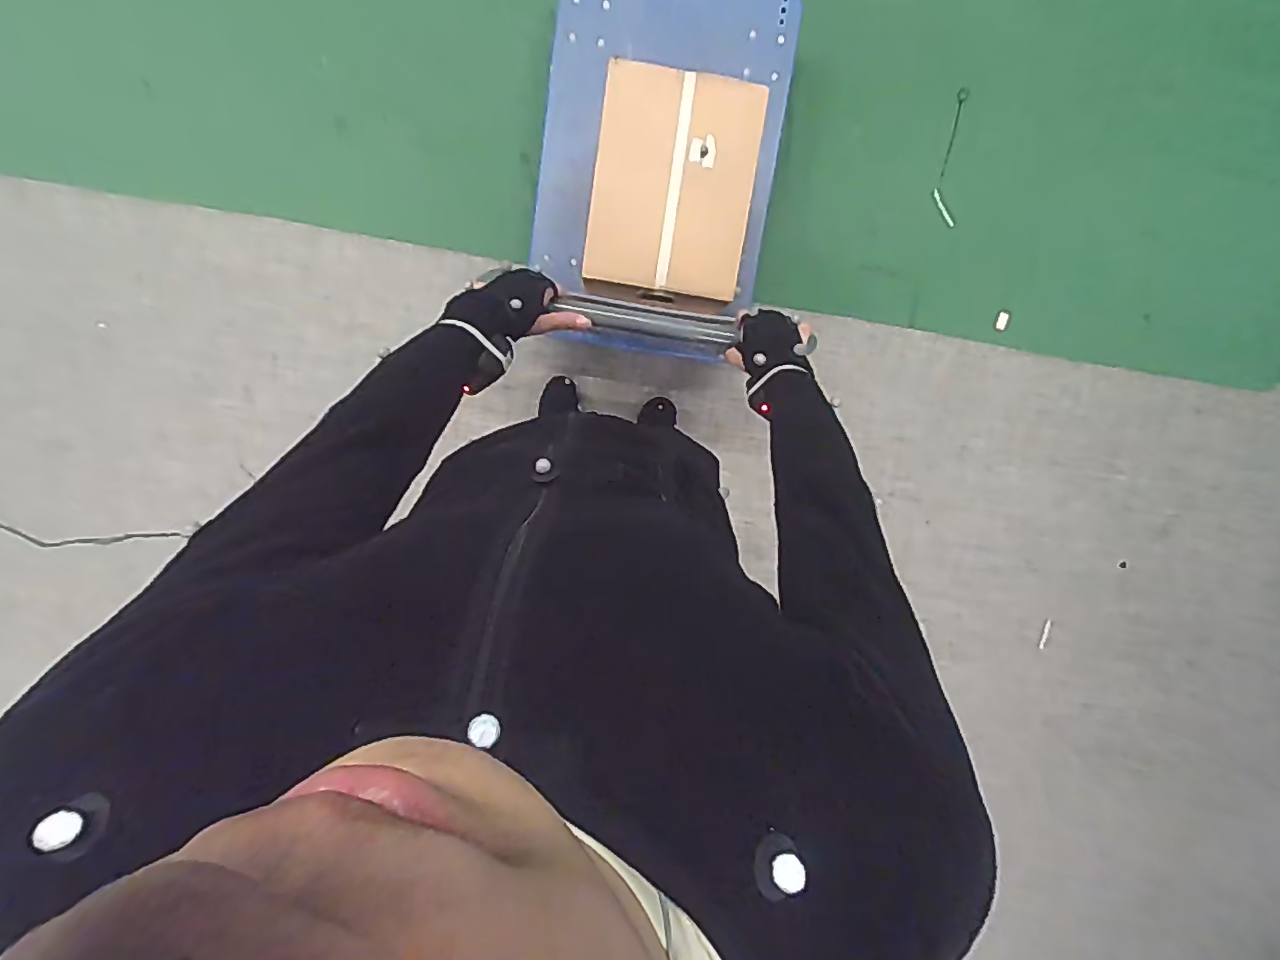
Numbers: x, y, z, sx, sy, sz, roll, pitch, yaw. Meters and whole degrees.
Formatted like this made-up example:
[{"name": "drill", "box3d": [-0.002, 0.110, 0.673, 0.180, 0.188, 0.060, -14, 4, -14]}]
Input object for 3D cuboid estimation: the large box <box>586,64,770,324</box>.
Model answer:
[{"name": "large box", "box3d": [0.066, -0.586, 1.195, 0.320, 0.320, 0.408, 8, 98, -5]}]
